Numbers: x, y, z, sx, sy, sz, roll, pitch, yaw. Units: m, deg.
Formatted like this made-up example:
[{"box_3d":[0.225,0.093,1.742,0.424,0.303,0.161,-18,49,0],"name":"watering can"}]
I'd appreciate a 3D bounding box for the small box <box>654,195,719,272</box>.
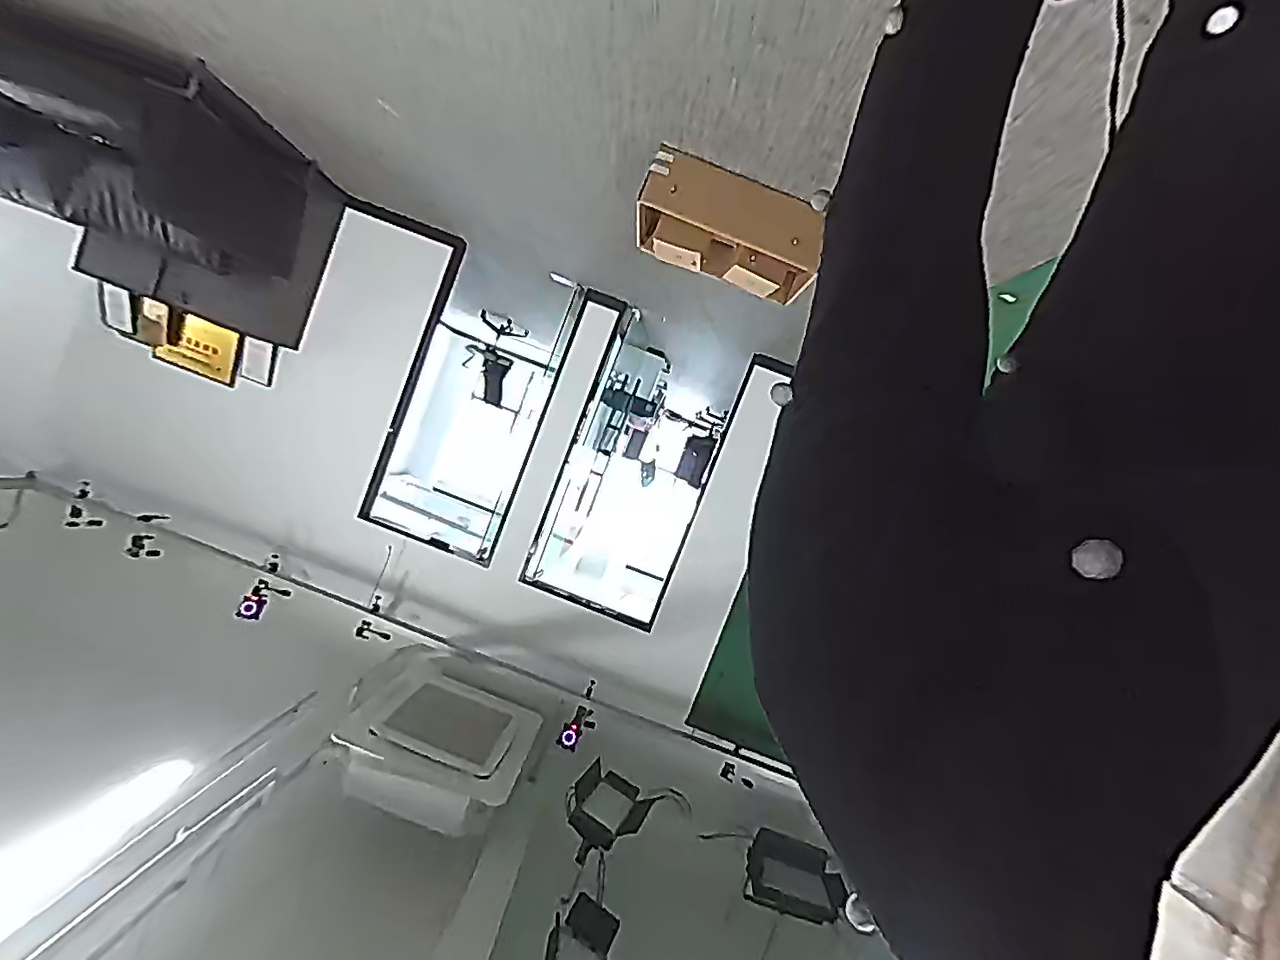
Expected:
[{"box_3d":[0.160,-0.861,1.884,0.179,0.176,0.168,21,-178,4],"name":"small box"}]
